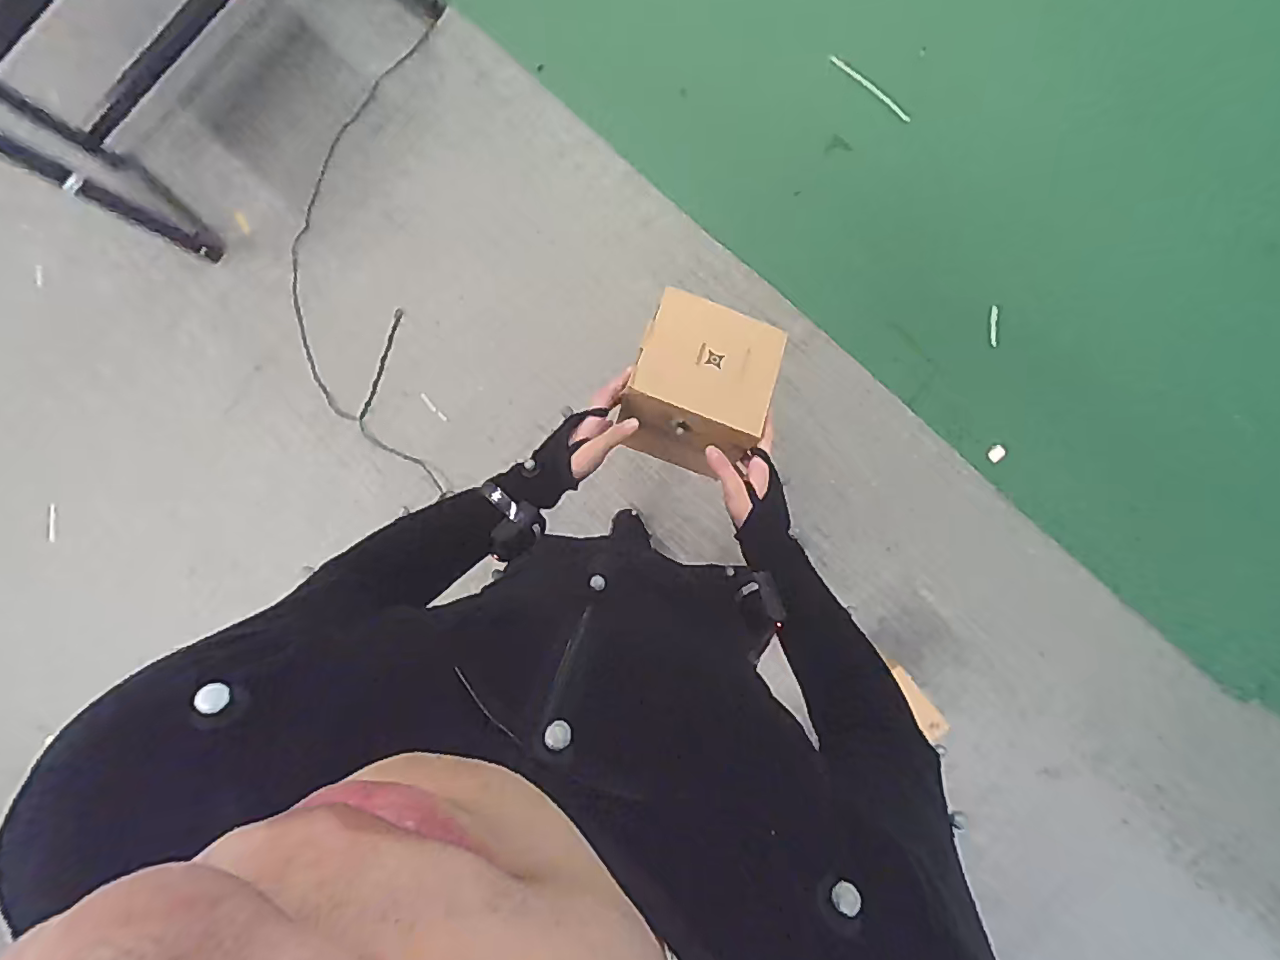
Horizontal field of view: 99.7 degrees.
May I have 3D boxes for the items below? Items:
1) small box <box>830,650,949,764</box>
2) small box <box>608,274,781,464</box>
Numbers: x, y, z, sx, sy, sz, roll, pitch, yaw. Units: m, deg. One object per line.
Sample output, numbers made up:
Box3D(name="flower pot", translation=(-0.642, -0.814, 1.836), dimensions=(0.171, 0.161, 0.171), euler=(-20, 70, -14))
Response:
Box3D(name="small box", translation=(0.588, 0.533, 1.305), dimensions=(0.168, 0.176, 0.179), euler=(-38, 83, 3))
Box3D(name="small box", translation=(0.066, -0.142, 0.748), dimensions=(0.179, 0.176, 0.168), euler=(21, 68, -3))
